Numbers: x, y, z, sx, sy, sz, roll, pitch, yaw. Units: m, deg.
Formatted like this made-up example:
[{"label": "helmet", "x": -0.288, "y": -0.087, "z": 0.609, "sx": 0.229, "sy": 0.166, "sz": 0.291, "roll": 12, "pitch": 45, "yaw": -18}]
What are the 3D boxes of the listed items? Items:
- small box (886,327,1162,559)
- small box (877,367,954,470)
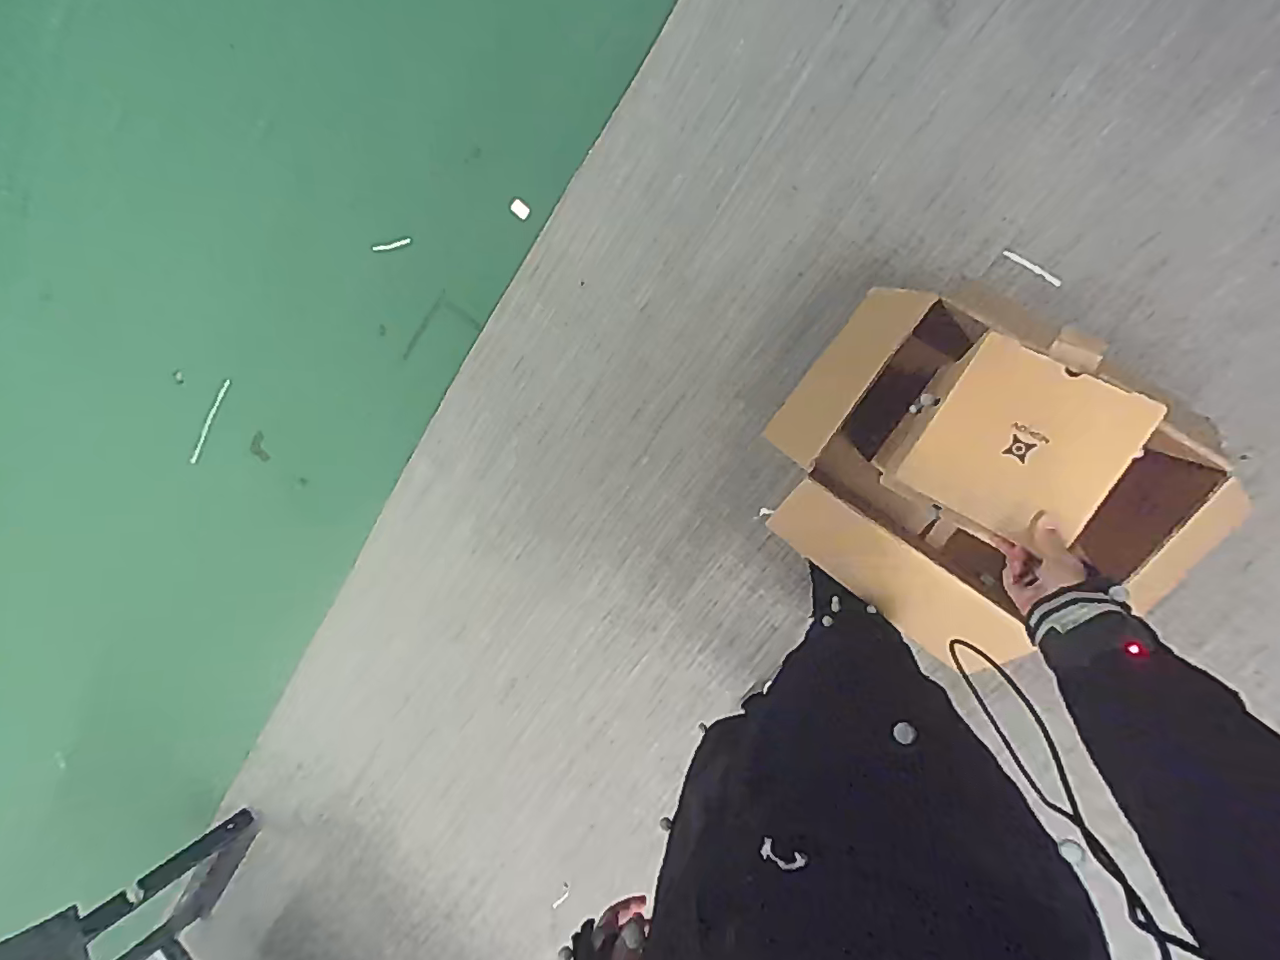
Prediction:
[{"label": "small box", "x": 0.395, "y": -0.034, "z": 0.599, "sx": 0.168, "sy": 0.176, "sz": 0.179, "roll": 32, "pitch": 97, "yaw": 18}, {"label": "small box", "x": 0.464, "y": -0.053, "z": 0.778, "sx": 0.168, "sy": 0.176, "sz": 0.179, "roll": 34, "pitch": 107, "yaw": 11}]
